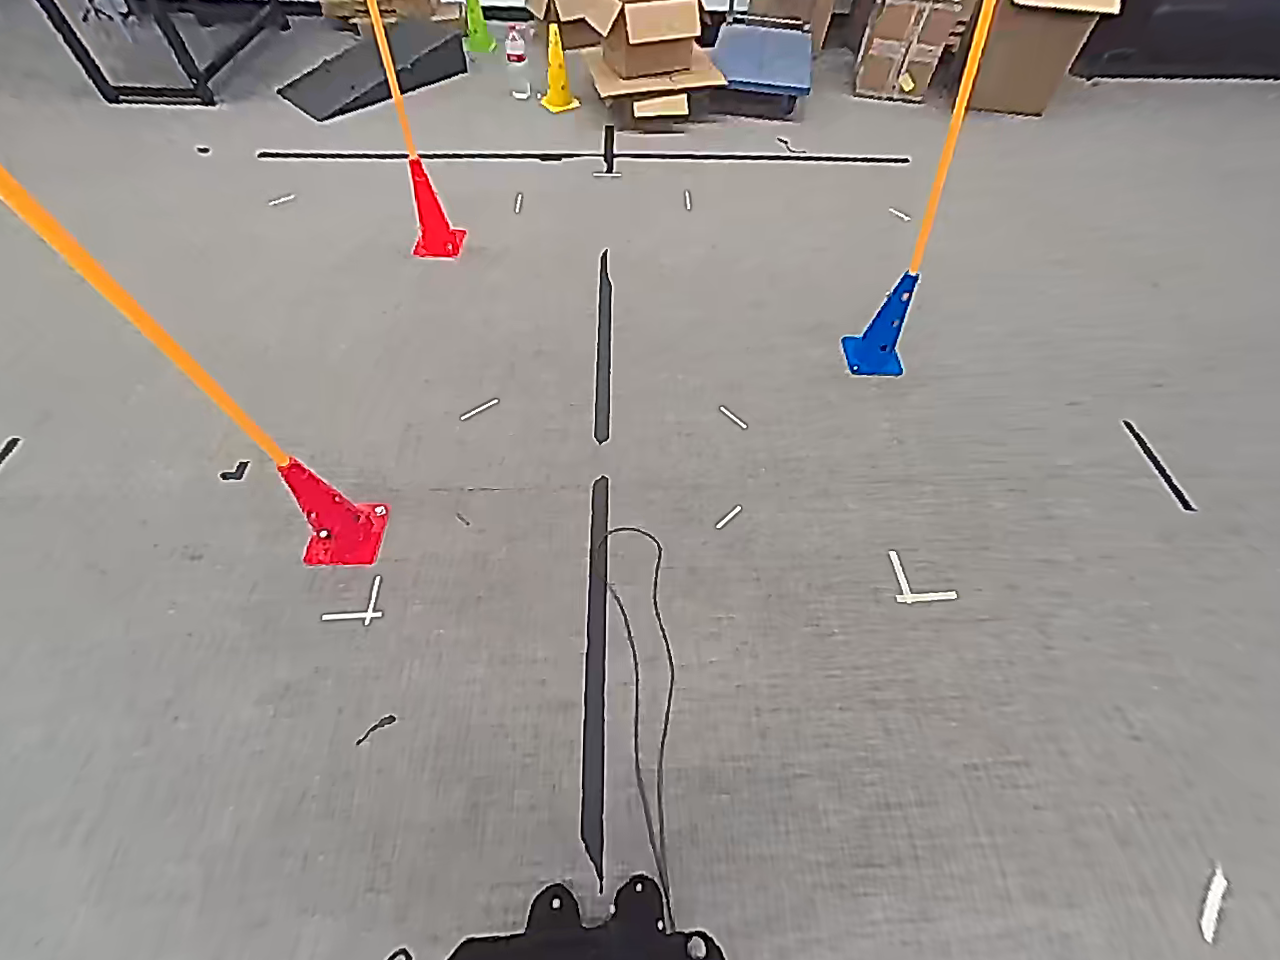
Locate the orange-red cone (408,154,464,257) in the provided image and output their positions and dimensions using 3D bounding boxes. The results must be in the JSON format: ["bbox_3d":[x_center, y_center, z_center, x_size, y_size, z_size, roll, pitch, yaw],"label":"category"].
[{"bbox_3d":[-0.863,-1.120,2.180,0.198,0.360,0.199,2,55,-1],"label":"orange-red cone"}]

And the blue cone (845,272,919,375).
[{"bbox_3d":[0.872,-0.559,1.885,0.193,0.380,0.192,2,57,0],"label":"blue cone"}]
